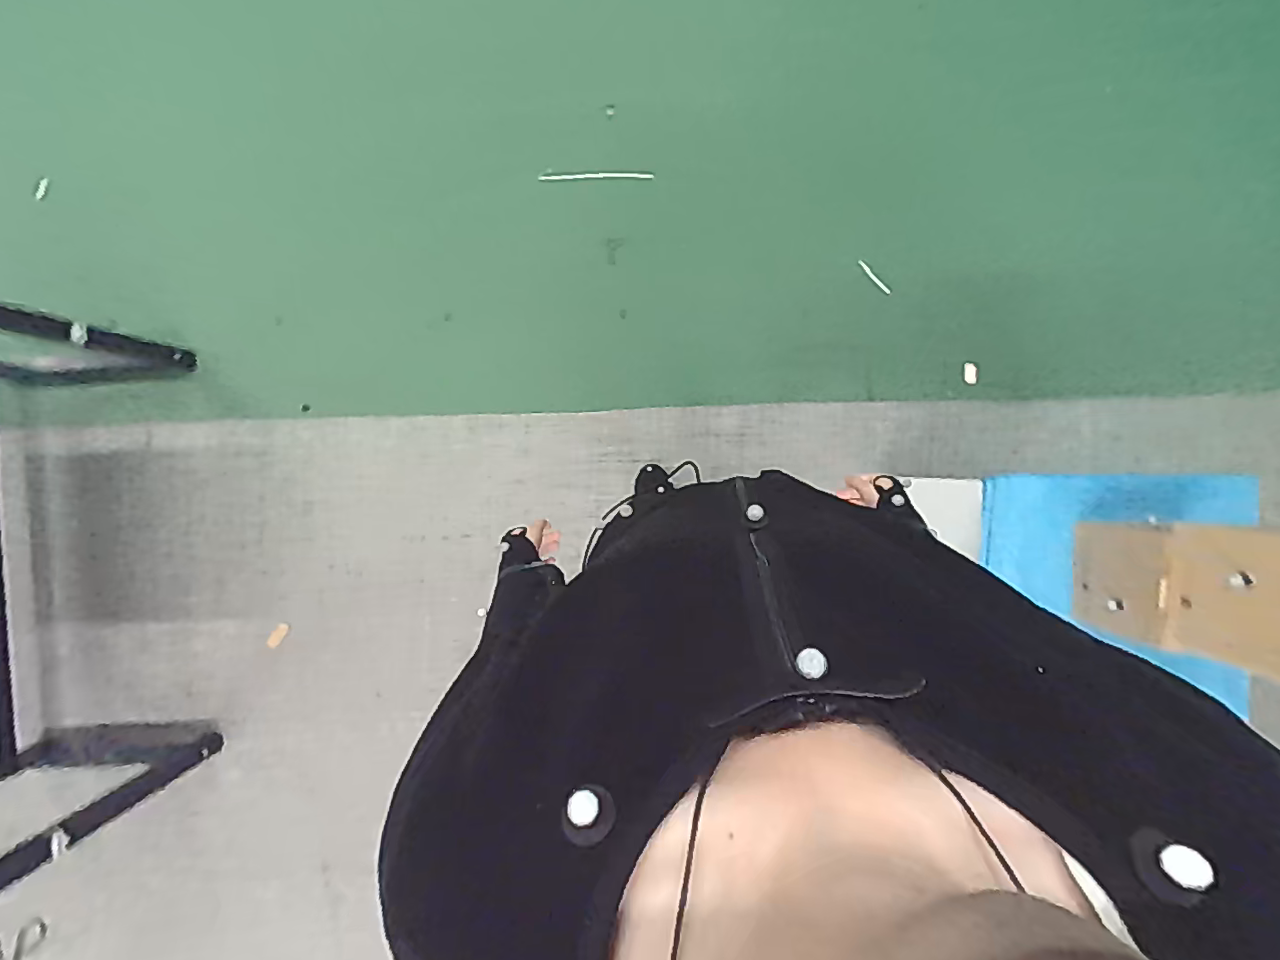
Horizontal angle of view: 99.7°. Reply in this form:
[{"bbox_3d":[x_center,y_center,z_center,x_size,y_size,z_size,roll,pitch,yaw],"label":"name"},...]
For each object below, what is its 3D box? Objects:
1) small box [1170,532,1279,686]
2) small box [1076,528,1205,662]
[{"bbox_3d":[0.793,0.155,0.642,0.179,0.176,0.168,3,92,0],"label":"small box"},{"bbox_3d":[0.798,0.163,0.804,0.179,0.176,0.168,2,92,1],"label":"small box"}]
